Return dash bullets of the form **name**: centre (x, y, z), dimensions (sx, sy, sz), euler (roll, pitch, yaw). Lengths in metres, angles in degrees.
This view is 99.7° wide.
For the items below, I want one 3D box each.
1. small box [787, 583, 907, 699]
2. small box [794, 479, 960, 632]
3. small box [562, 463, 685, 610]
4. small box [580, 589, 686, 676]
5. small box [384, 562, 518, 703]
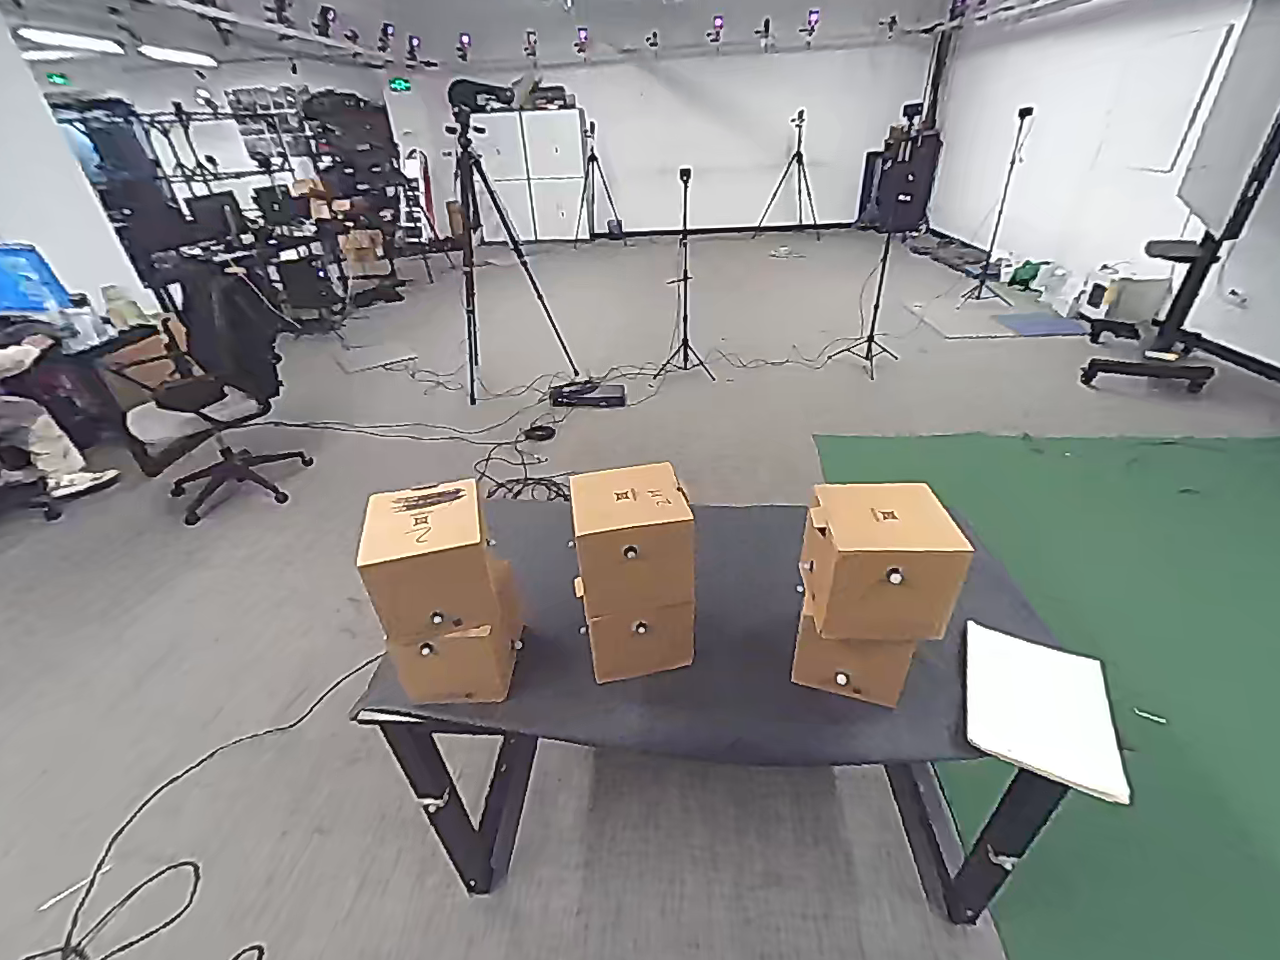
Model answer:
- **small box**: centre (0.350, 0.237, 0.929), dimensions (0.168, 0.176, 0.179), euler (8, 35, 18)
- **small box**: centre (0.343, 0.114, 0.820), dimensions (0.179, 0.176, 0.168), euler (-2, 32, 5)
- **small box**: centre (-0.027, 0.093, 0.890), dimensions (0.179, 0.176, 0.168), euler (-8, 34, -7)
- **small box**: centre (-0.018, 0.230, 0.981), dimensions (0.179, 0.176, 0.168), euler (-9, 34, -9)
- **small box**: centre (-0.318, 0.265, 0.952), dimensions (0.168, 0.176, 0.179), euler (-3, 33, 0)
